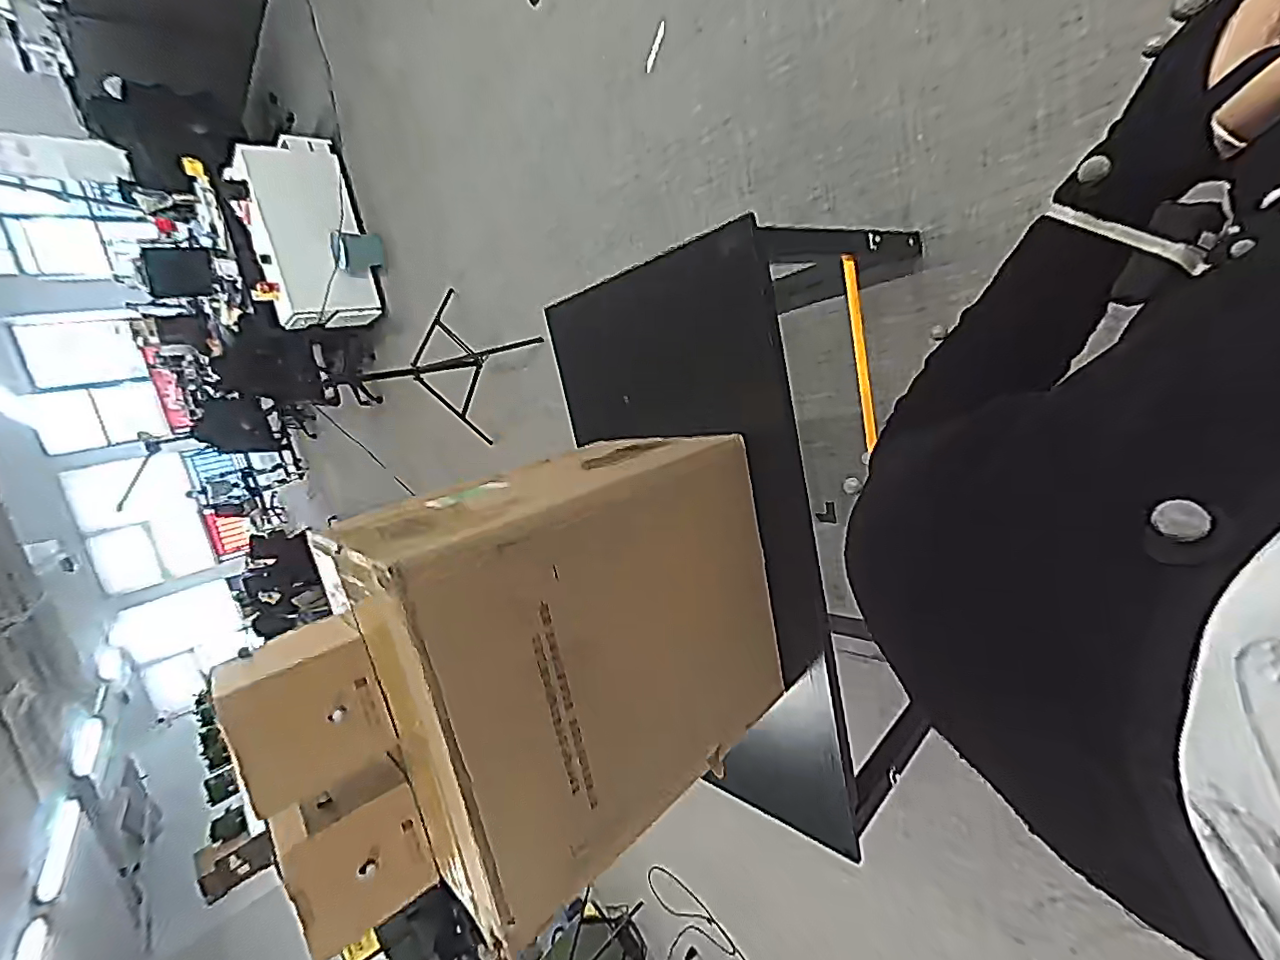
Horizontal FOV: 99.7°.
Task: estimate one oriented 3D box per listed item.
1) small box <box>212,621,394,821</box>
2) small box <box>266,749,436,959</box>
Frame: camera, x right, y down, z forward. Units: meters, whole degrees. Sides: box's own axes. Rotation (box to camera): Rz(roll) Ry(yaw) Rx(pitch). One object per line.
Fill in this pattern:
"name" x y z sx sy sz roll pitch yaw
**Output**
"small box" -0.463 0.313 0.750 0.179 0.176 0.168 -3 104 51
"small box" -0.420 0.532 0.796 0.179 0.176 0.168 -6 100 50
